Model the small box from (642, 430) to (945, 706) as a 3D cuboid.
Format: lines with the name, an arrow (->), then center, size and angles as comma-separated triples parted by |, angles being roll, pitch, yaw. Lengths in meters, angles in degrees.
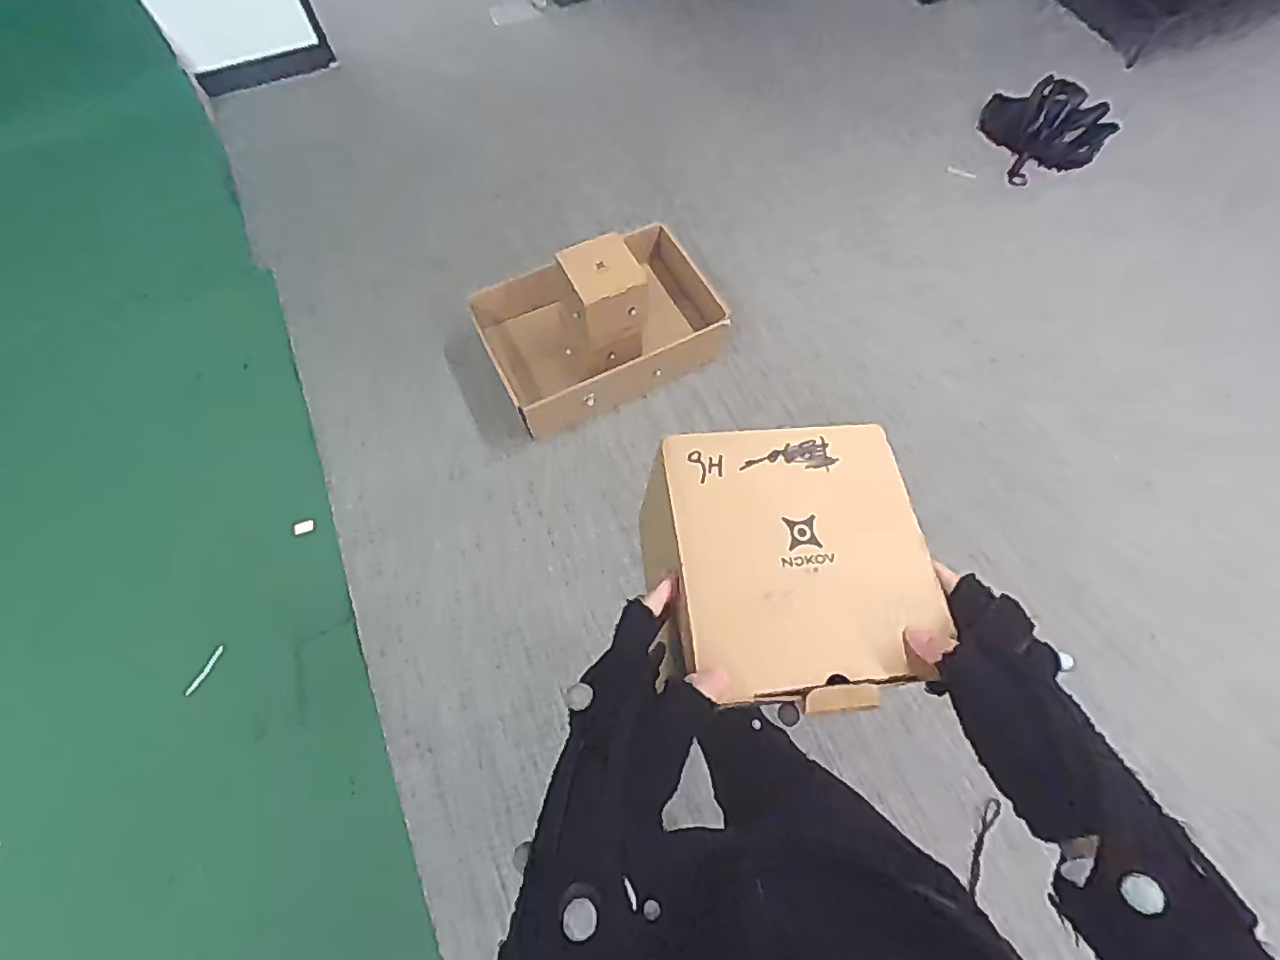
small box -> 0.096, 0.080, 0.434 | 0.168, 0.176, 0.179 | -5, 66, -7

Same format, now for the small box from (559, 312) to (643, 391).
small box -> -0.103, -0.377, 1.487 | 0.179, 0.176, 0.168 | -26, 68, -9

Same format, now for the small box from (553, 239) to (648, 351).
small box -> -0.091, -0.441, 1.321 | 0.168, 0.176, 0.179 | -29, 70, -12
